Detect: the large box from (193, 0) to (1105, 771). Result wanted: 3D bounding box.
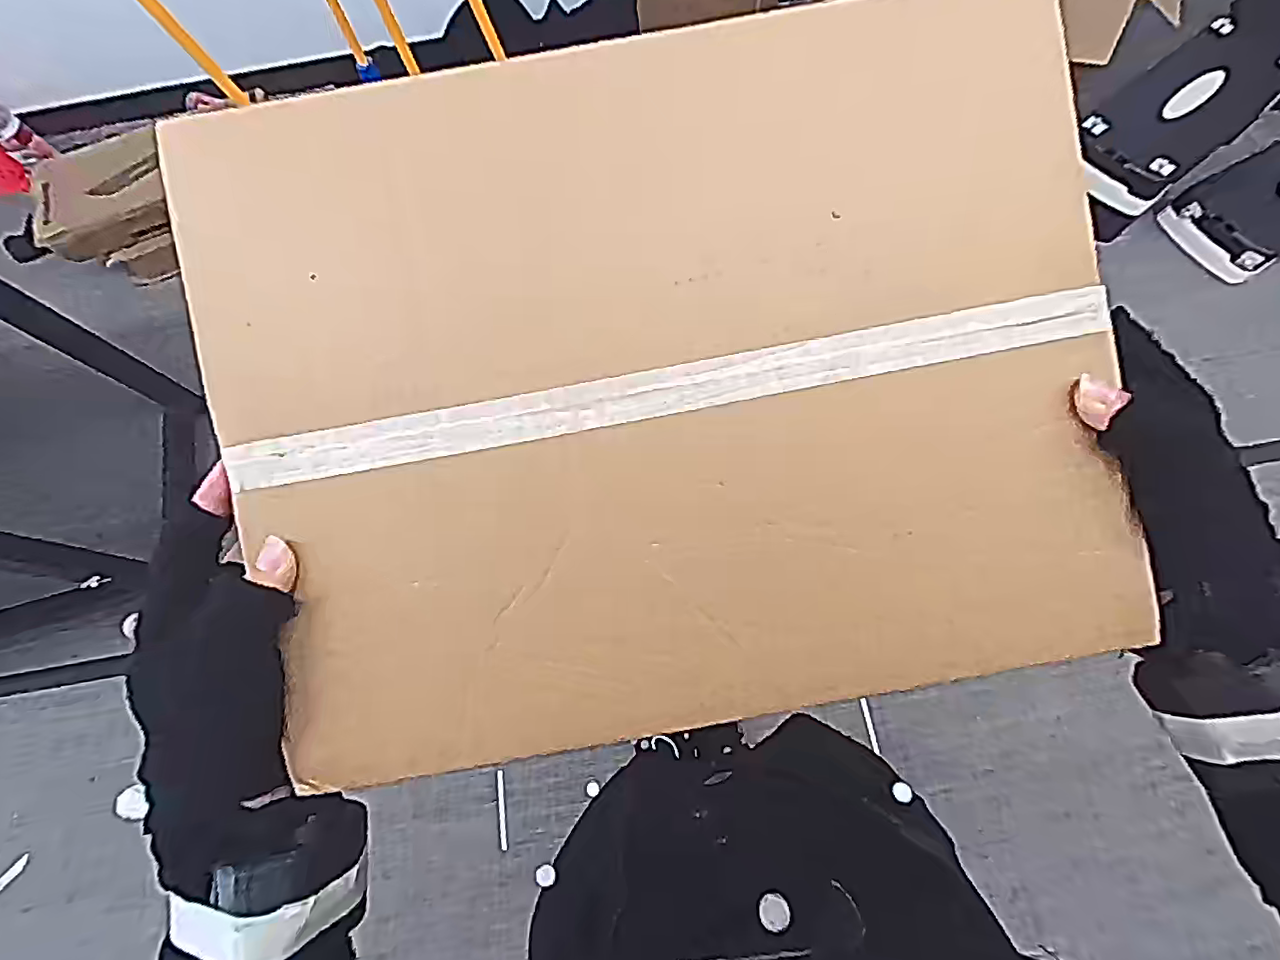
[{"bbox_3d":[0.010,-0.048,0.408,0.408,0.320,0.320,-10,91,0],"label":"large box"}]
